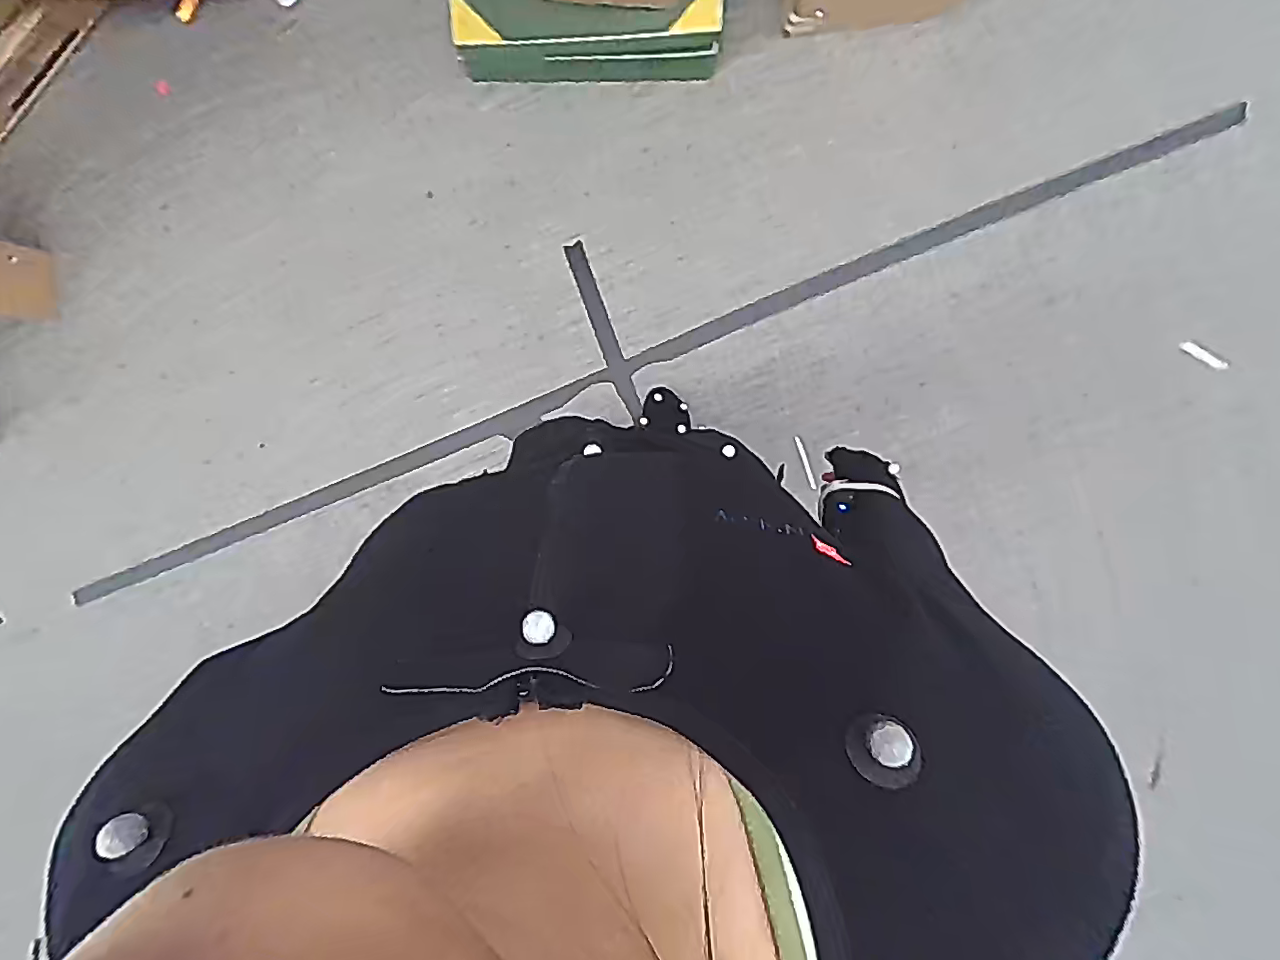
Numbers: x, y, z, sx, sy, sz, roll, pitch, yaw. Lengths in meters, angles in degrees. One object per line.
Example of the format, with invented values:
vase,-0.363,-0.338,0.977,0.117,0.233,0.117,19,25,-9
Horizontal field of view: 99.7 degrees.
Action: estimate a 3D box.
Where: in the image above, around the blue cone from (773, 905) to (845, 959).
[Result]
blue cone,0.518,1.441,1.509,0.193,0.380,0.192,-21,99,6
